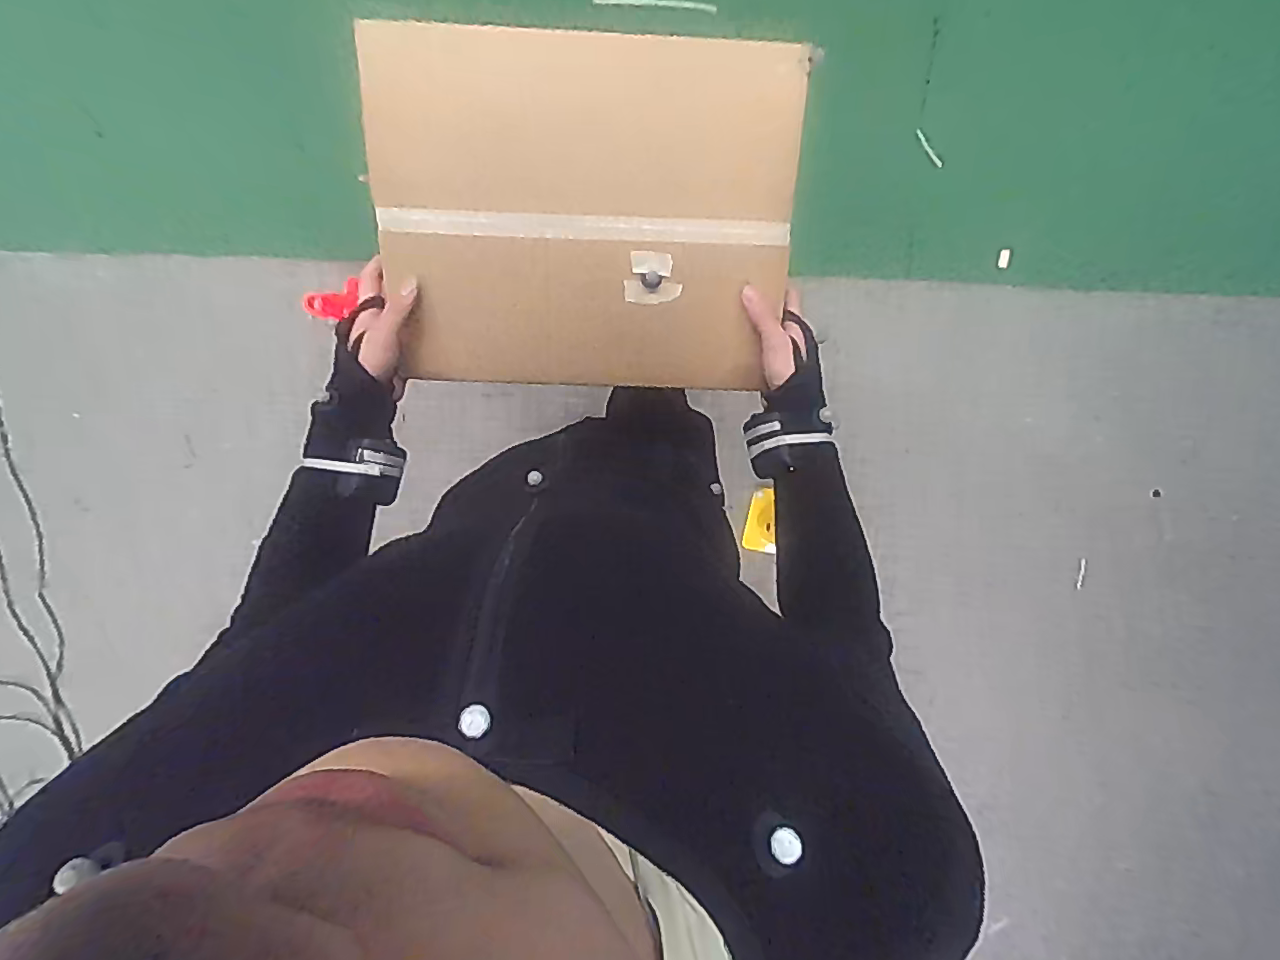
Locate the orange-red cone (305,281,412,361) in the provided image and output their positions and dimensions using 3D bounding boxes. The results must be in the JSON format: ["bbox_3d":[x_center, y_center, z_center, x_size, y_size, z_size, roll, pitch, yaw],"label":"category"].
[{"bbox_3d":[-0.711,-0.409,1.336,0.199,0.360,0.198,9,100,-3],"label":"orange-red cone"}]

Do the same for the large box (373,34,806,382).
[{"bbox_3d":[-0.053,-0.304,0.681,0.408,0.320,0.320,1,111,-3],"label":"large box"}]
